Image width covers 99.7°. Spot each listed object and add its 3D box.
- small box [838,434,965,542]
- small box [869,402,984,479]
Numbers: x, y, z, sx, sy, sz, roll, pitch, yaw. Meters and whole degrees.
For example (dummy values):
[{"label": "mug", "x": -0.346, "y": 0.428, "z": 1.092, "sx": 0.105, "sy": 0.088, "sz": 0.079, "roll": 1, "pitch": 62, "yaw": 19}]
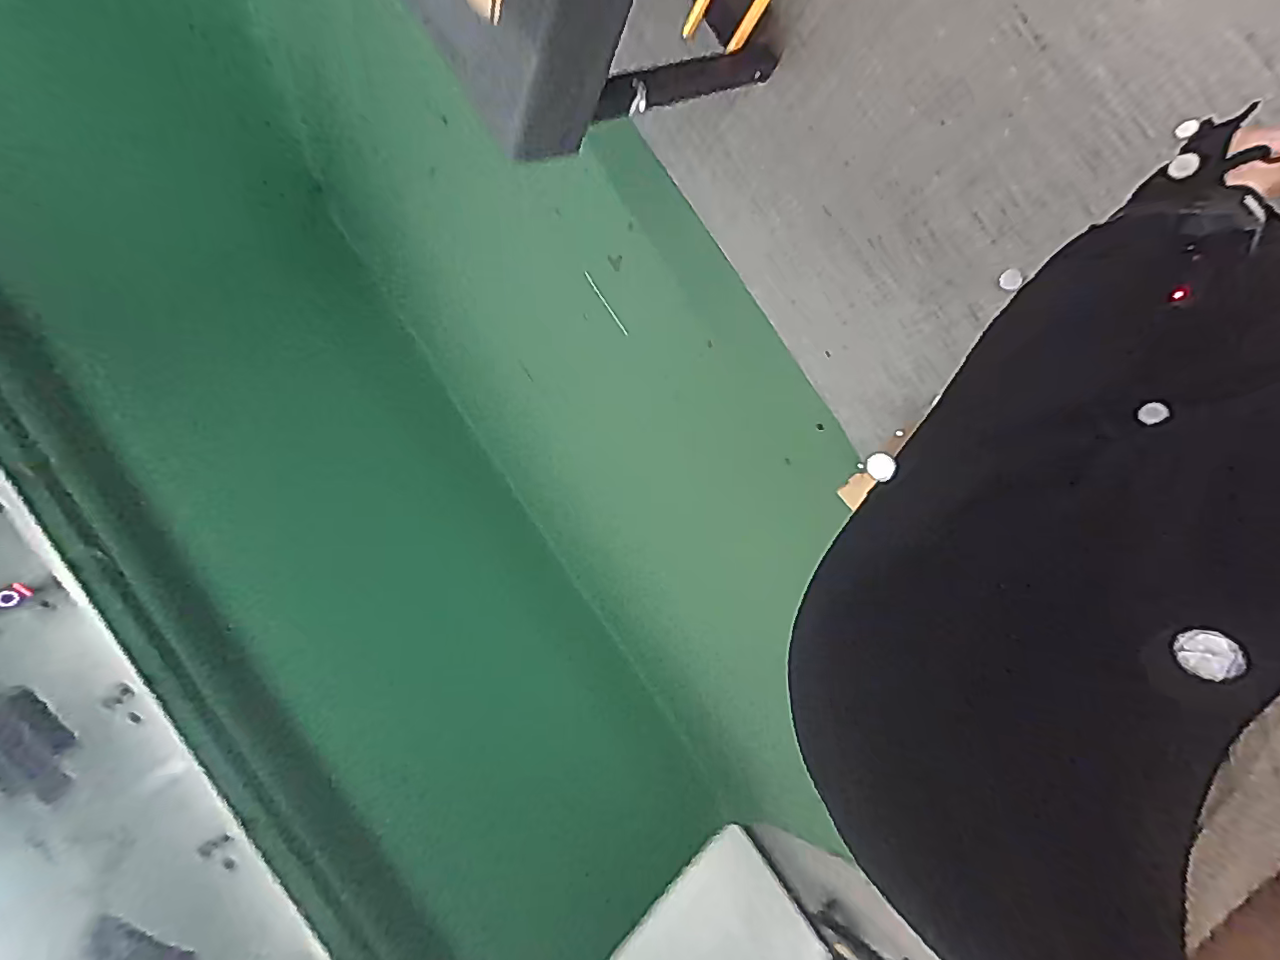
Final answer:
[{"label": "small box", "x": 0.624, "y": 0.013, "z": 1.295, "sx": 0.179, "sy": 0.176, "sz": 0.168, "roll": 50, "pitch": 153, "yaw": 10}, {"label": "small box", "x": 0.737, "y": -0.070, "z": 1.379, "sx": 0.168, "sy": 0.176, "sz": 0.179, "roll": 52, "pitch": 153, "yaw": 8}]
